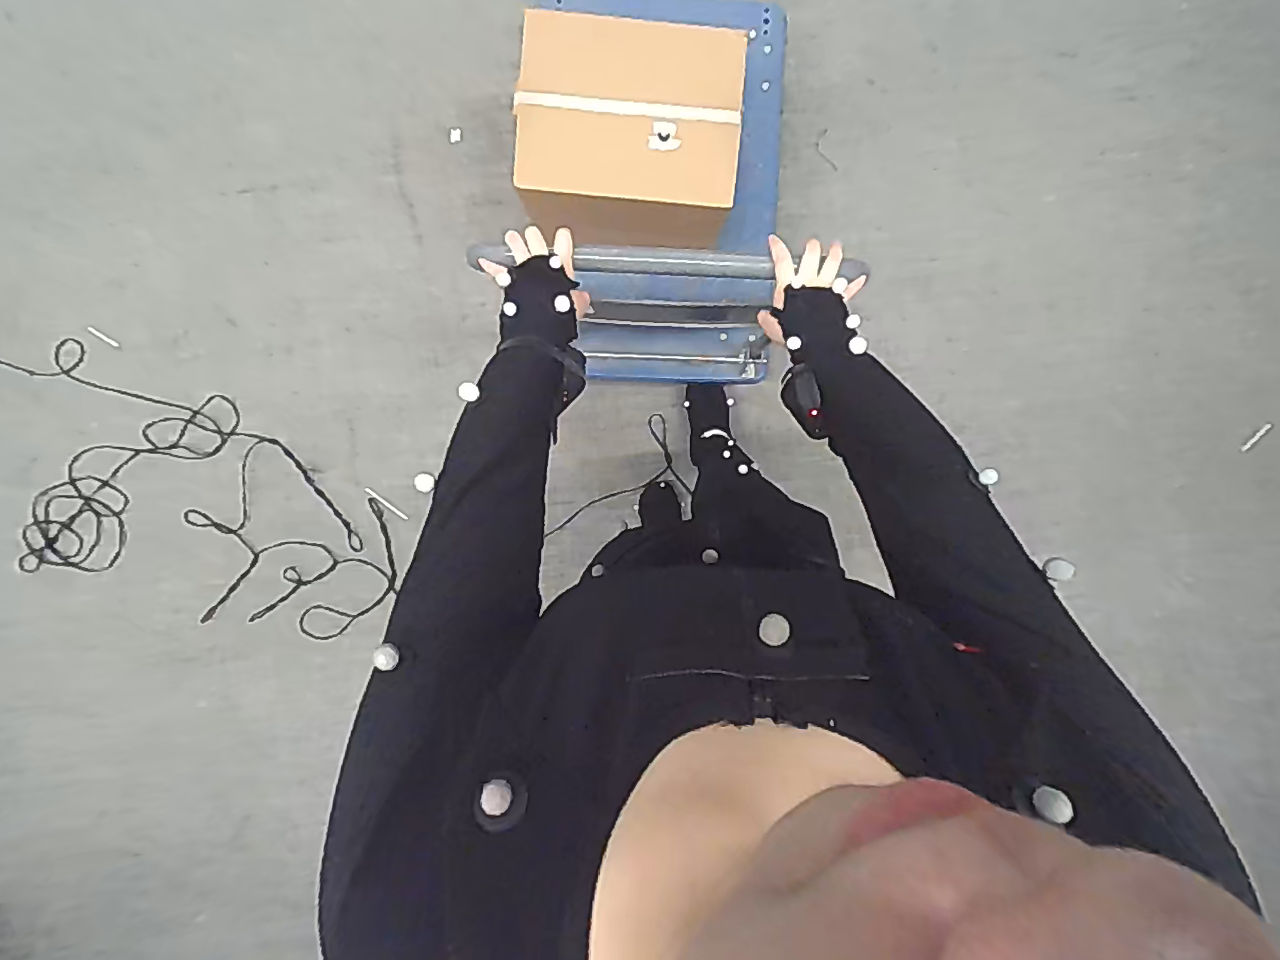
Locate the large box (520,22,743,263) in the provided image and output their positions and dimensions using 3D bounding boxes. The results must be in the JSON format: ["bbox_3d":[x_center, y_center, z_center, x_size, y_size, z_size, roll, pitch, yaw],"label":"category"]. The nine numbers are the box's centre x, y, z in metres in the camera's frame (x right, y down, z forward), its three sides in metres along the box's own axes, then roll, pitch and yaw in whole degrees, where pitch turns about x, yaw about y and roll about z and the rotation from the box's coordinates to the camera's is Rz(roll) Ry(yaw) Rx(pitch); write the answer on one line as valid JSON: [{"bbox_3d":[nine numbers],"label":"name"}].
[{"bbox_3d":[-0.022,-0.680,1.147,0.408,0.320,0.320,5,93,-2],"label":"large box"}]
